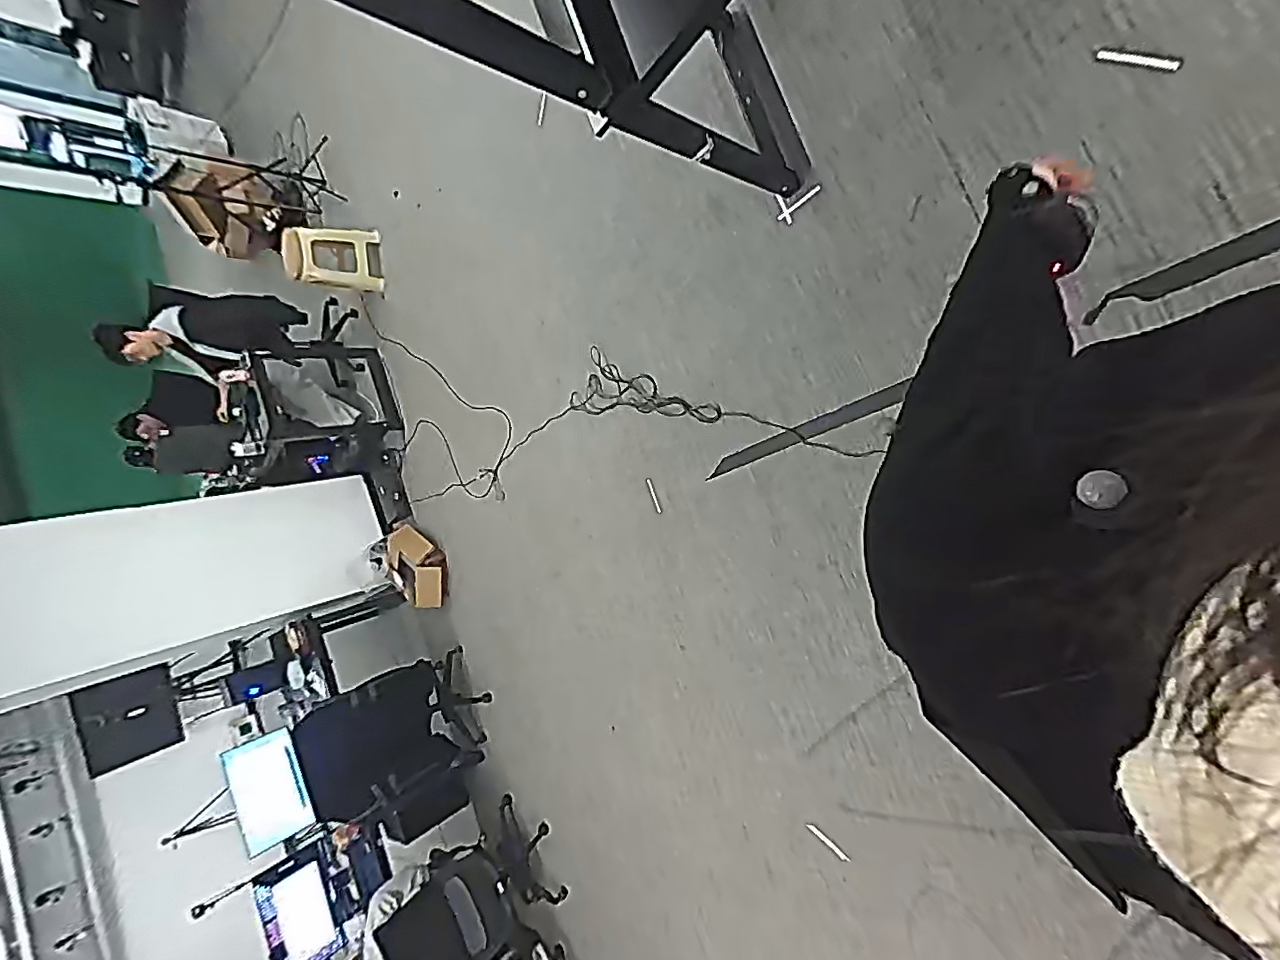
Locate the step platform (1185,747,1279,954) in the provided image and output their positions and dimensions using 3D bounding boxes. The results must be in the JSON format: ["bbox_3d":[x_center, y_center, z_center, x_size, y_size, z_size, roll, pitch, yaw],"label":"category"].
[{"bbox_3d":[1.339,0.642,0.838,0.684,0.204,0.286,-17,87,44],"label":"step platform"}]
